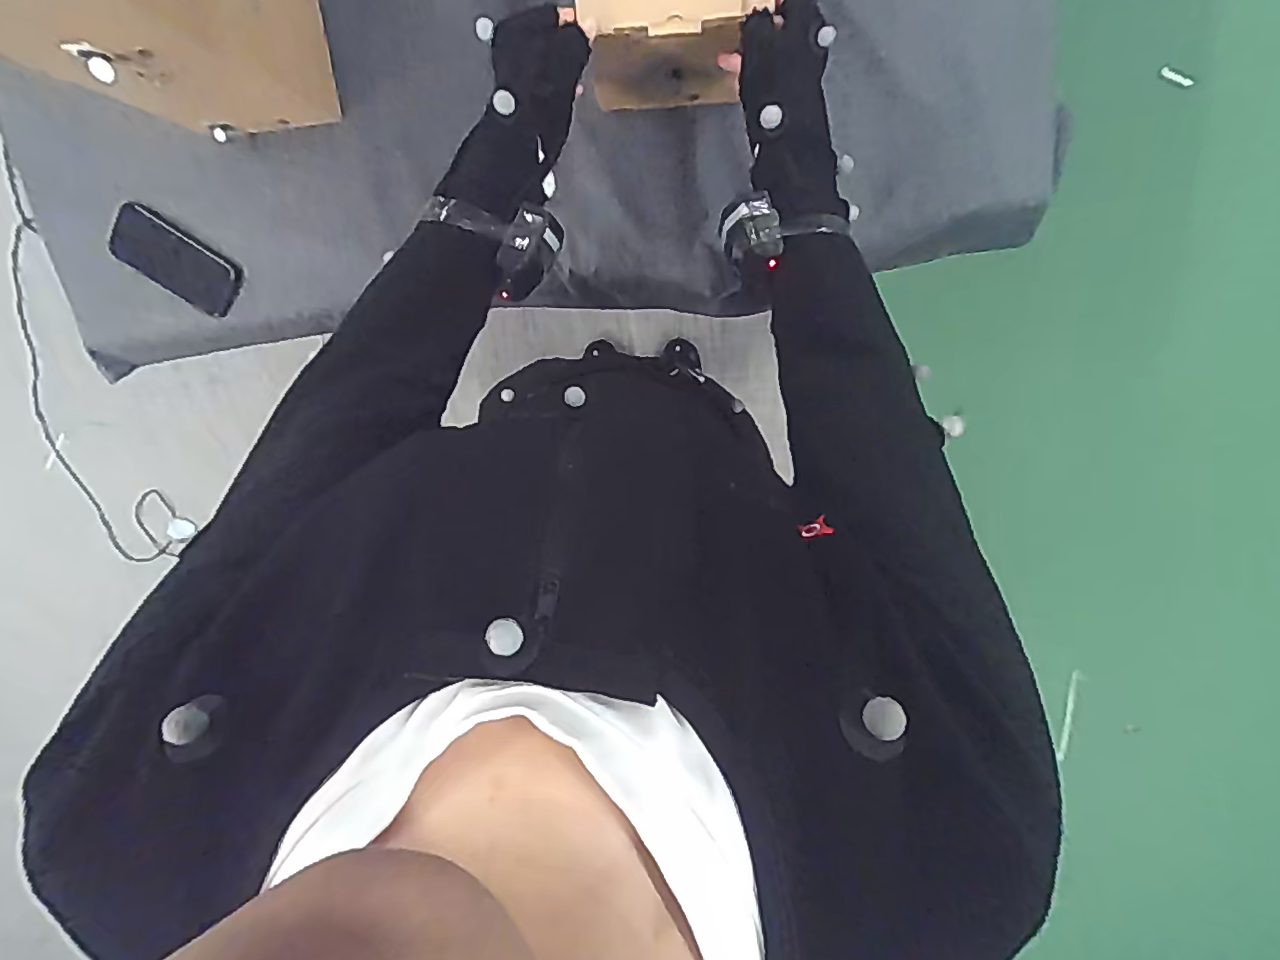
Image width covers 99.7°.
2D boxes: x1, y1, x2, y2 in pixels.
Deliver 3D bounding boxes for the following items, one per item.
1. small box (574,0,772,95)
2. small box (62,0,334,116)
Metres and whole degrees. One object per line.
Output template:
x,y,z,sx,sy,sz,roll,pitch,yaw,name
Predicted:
0.032,-0.481,0.497,0.168,0.176,0.179,-1,106,4,small box
-0.434,-0.482,0.527,0.168,0.176,0.179,-3,105,5,small box
